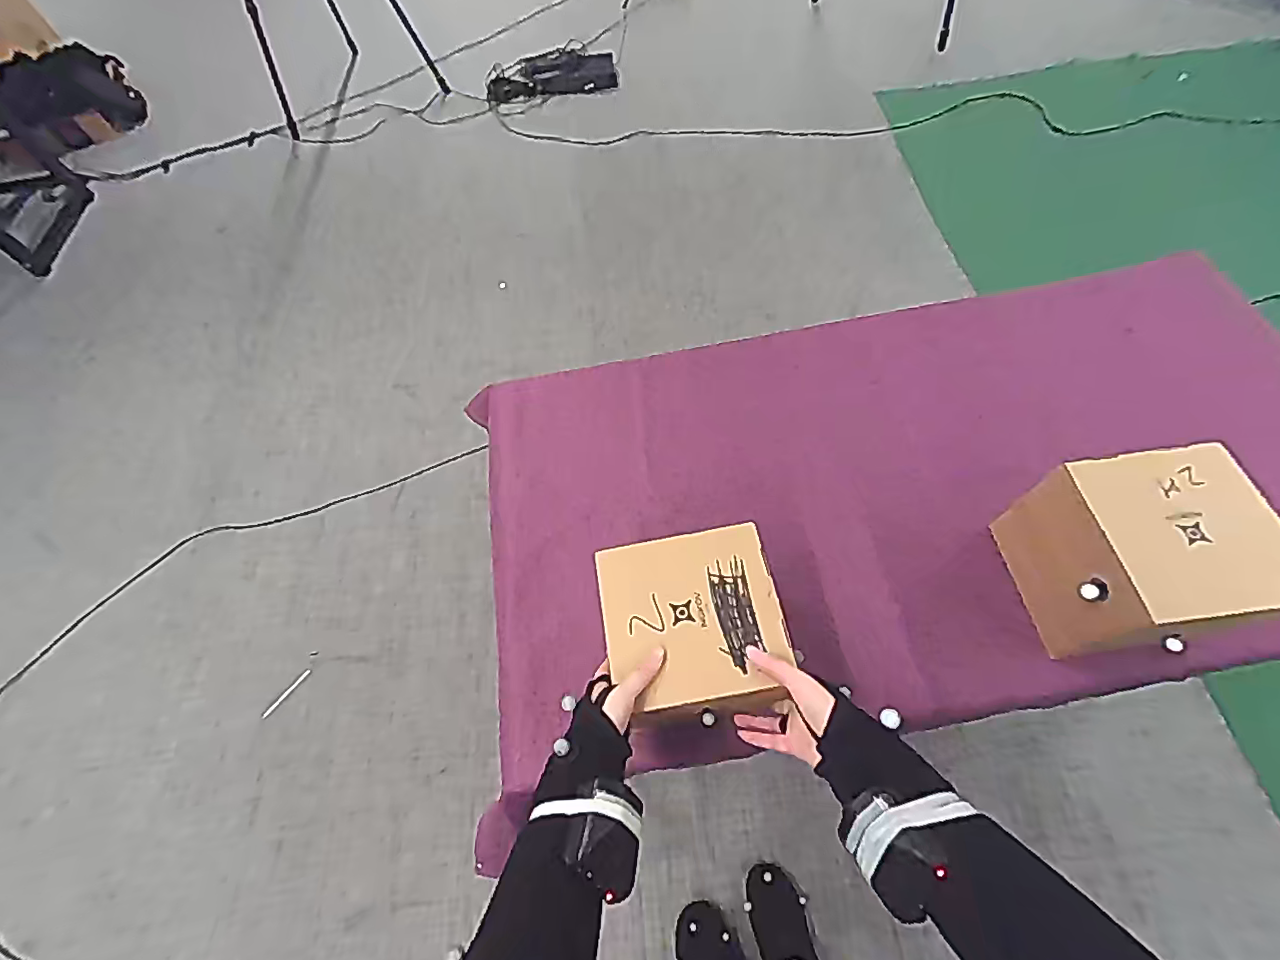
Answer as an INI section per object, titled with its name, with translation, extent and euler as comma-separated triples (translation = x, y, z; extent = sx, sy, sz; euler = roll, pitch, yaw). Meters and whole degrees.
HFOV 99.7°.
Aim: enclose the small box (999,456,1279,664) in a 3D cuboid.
[small box]
translation = 0.547, 0.098, 0.598
extent = 0.168, 0.176, 0.179
euler = -7, 60, 1
